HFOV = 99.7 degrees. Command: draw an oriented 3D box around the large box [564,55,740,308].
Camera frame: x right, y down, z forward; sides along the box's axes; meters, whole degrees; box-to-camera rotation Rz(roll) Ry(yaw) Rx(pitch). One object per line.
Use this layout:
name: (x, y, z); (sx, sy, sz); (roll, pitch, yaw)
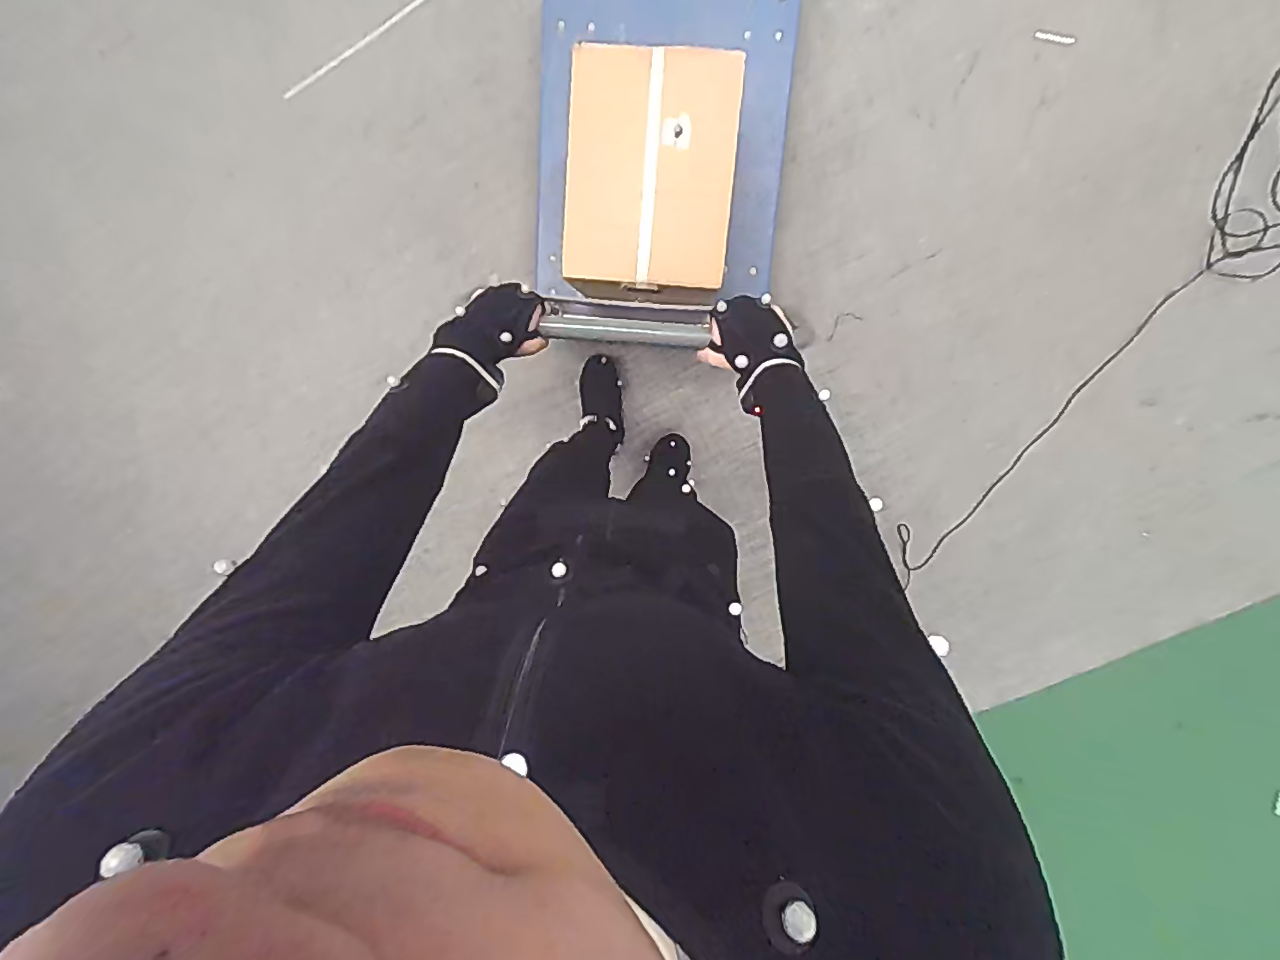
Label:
large box: (0.027, -0.605, 1.173); (0.320, 0.320, 0.408); (6, 101, 2)
